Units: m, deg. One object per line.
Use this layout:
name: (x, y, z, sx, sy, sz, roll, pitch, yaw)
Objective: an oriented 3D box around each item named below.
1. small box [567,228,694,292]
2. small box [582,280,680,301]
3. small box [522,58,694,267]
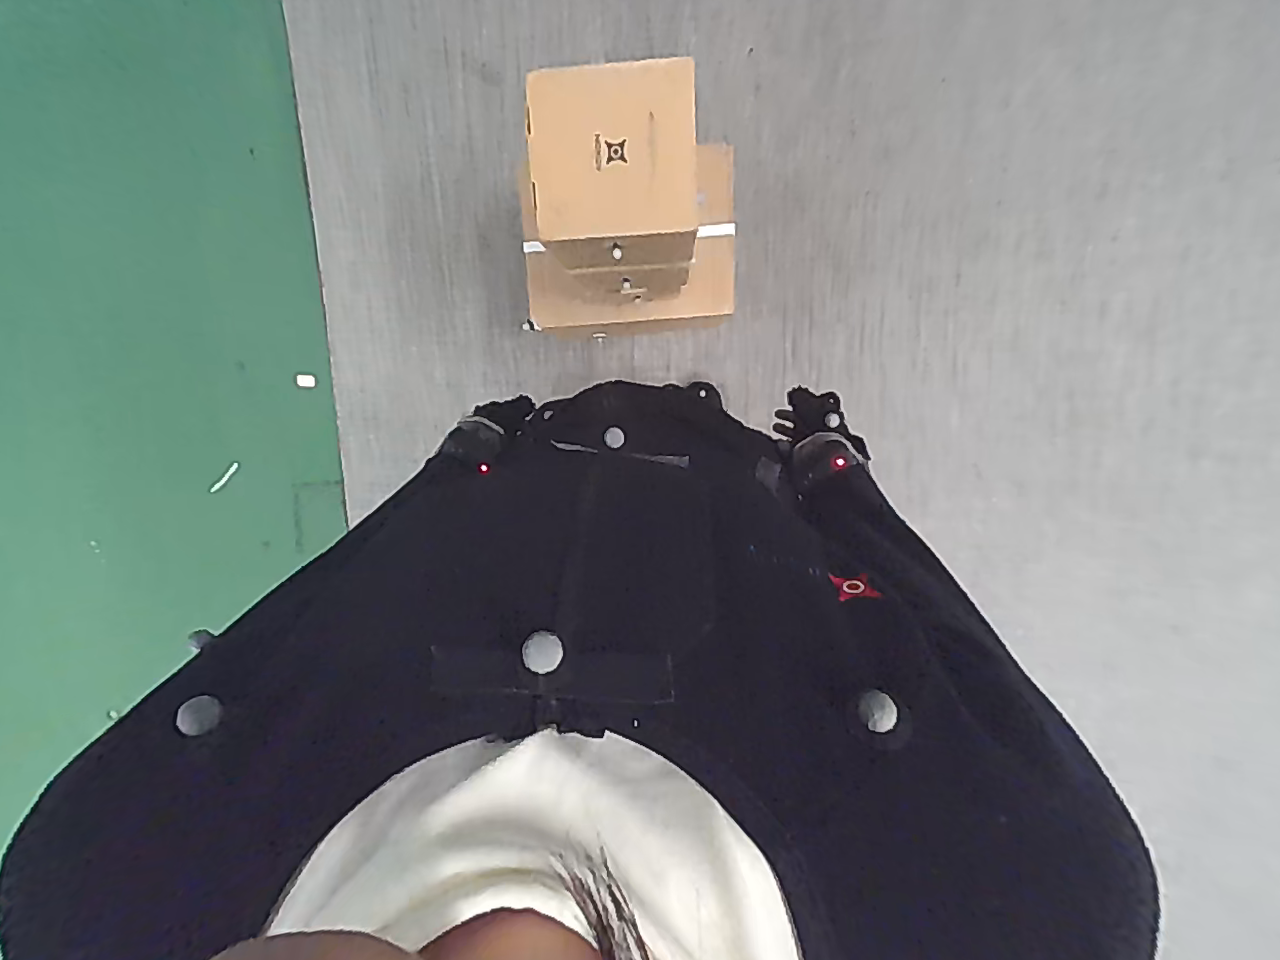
small box: (-0.017, -0.381, 0.802, 0.179, 0.176, 0.168, -5, 101, 4)
small box: (-0.016, -0.419, 0.962, 0.168, 0.176, 0.179, -4, 101, 5)
small box: (-0.027, -0.357, 0.642, 0.179, 0.176, 0.168, -2, 102, 3)
